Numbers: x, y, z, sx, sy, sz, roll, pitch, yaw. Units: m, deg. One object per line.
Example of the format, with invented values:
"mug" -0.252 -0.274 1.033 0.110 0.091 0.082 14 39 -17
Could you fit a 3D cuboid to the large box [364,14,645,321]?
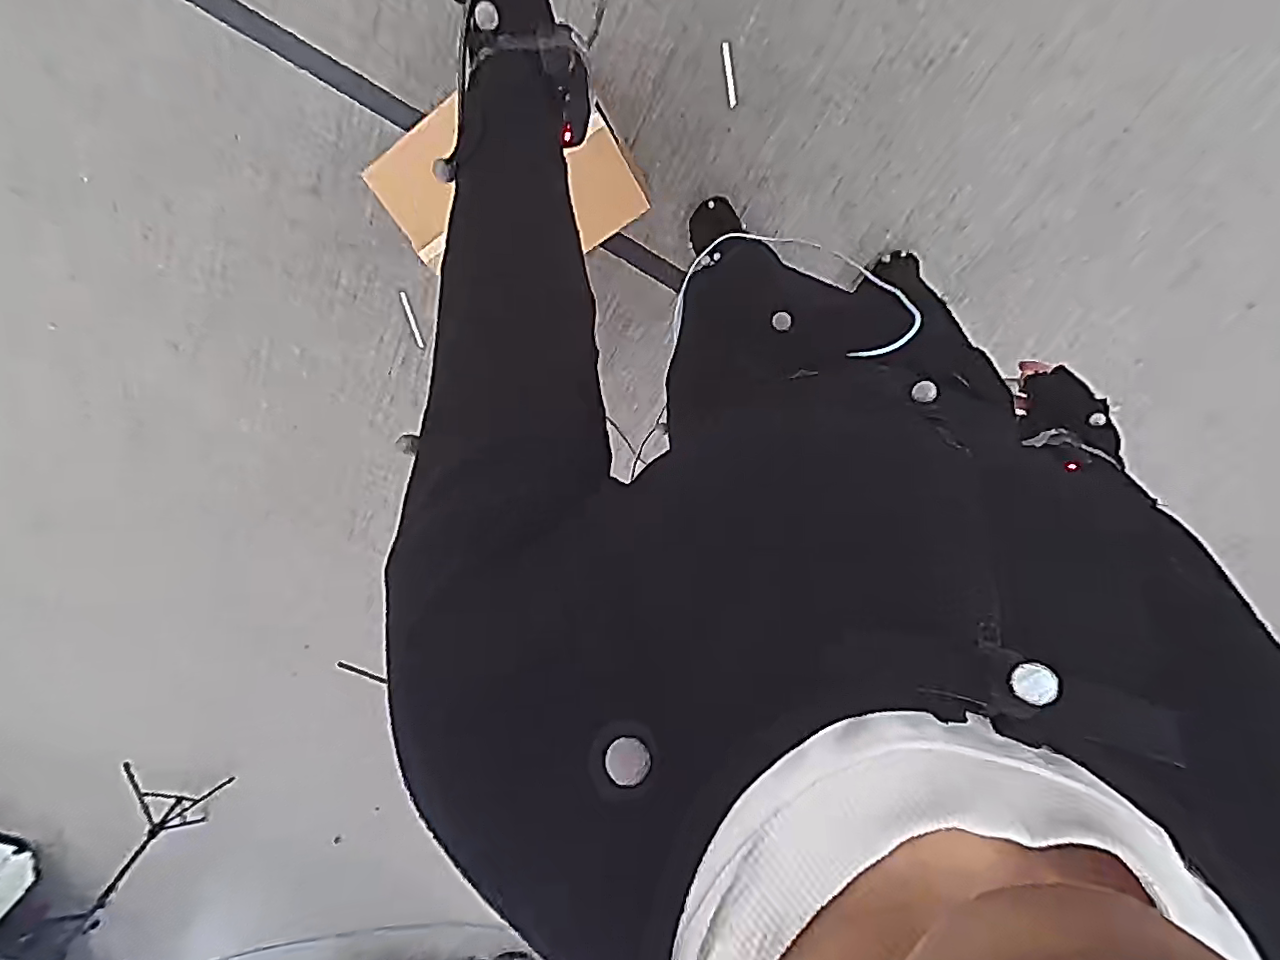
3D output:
"large box" -0.235 -0.584 1.069 0.408 0.320 0.320 -28 117 17
